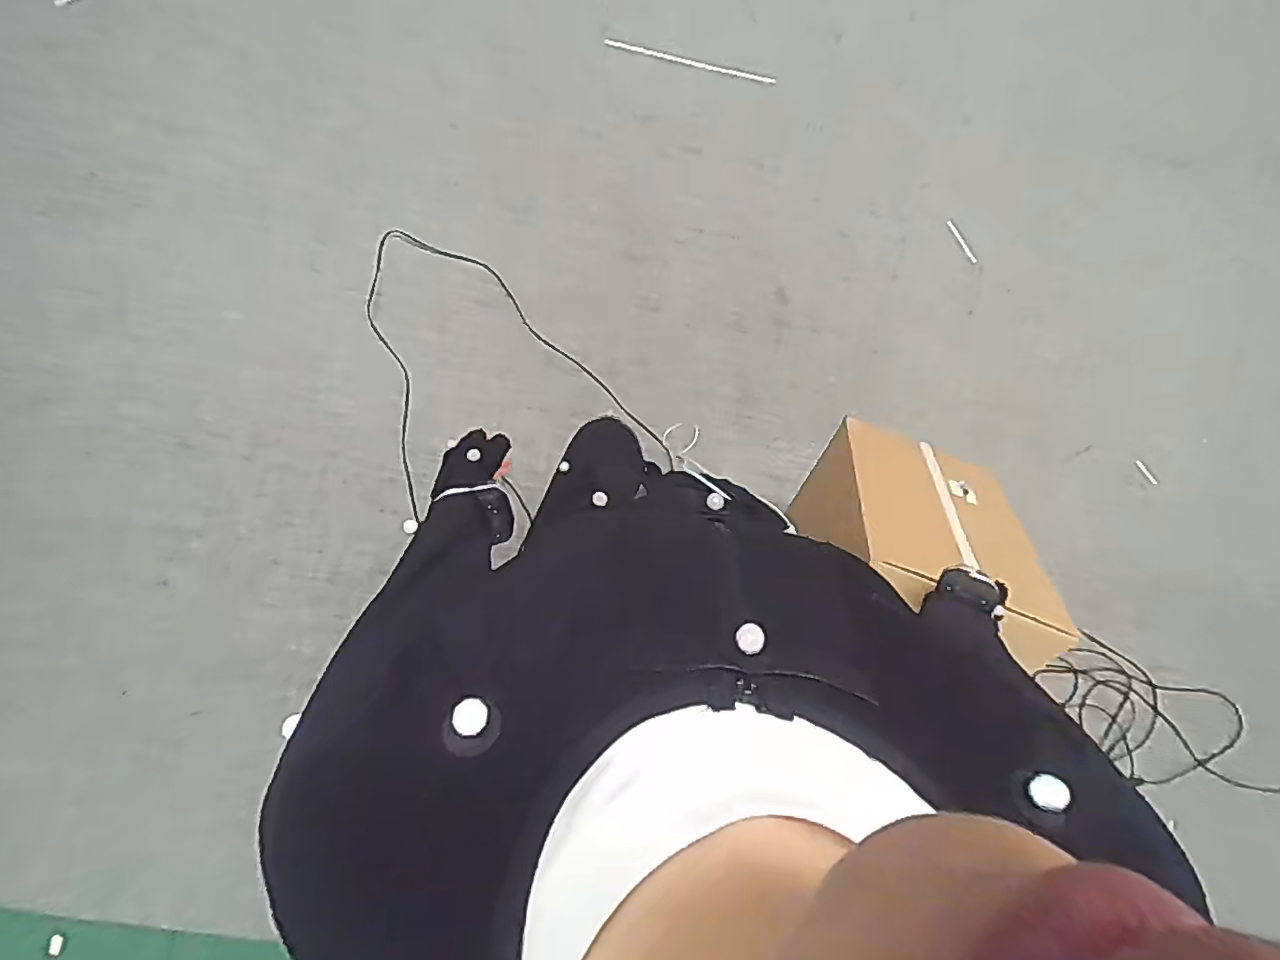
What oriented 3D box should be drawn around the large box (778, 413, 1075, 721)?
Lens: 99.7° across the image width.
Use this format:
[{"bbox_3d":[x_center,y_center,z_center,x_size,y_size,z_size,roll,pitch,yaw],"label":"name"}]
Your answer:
[{"bbox_3d":[0.457,0.146,0.986,0.320,0.408,0.320,21,128,-1],"label":"large box"}]
